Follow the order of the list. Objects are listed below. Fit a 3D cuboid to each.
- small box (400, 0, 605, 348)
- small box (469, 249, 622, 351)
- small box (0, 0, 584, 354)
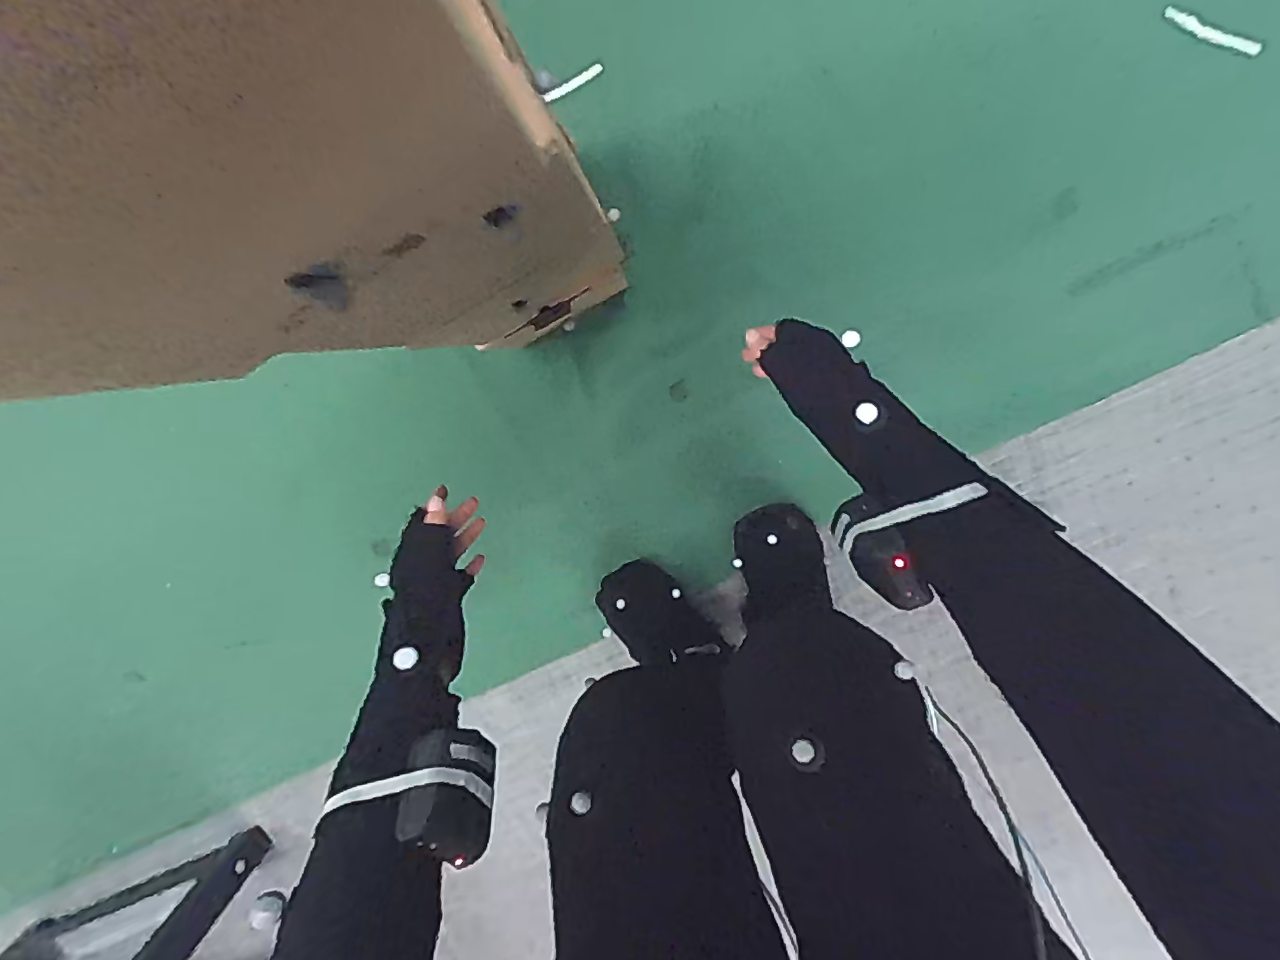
[{"bbox_3d":[-0.138,-0.222,0.441,0.179,0.176,0.168,-25,101,9],"label":"small box"},{"bbox_3d":[-0.134,-0.259,0.604,0.168,0.176,0.179,-27,102,10],"label":"small box"},{"bbox_3d":[-0.149,-0.180,0.287,0.179,0.176,0.168,-28,101,9],"label":"small box"}]
